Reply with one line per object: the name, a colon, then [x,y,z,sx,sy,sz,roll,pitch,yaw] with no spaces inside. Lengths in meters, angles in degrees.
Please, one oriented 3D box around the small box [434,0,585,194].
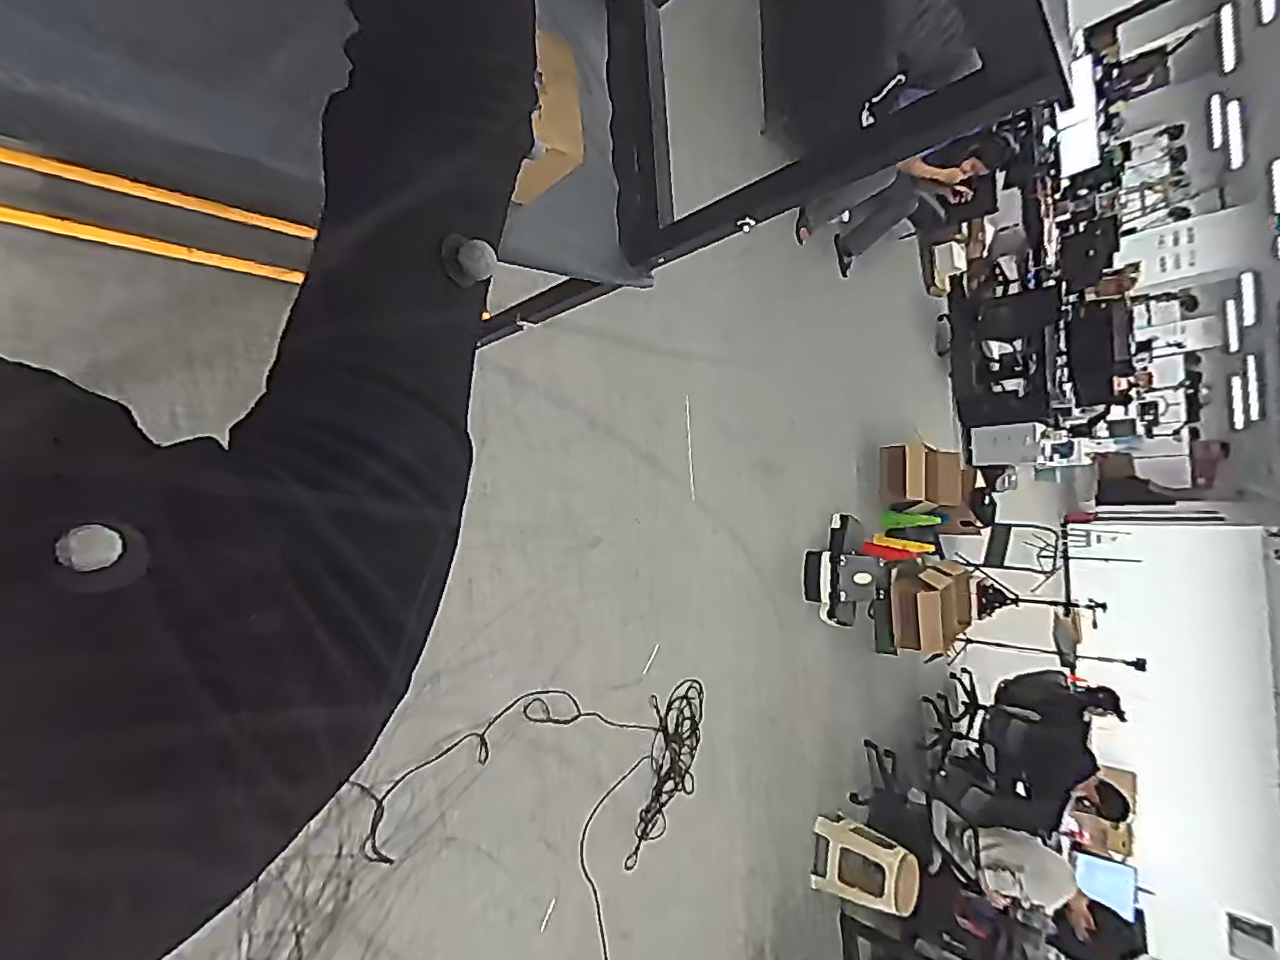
small box: [-0.206,-0.589,0.844,0.168,0.176,0.179,-3,89,-45]
